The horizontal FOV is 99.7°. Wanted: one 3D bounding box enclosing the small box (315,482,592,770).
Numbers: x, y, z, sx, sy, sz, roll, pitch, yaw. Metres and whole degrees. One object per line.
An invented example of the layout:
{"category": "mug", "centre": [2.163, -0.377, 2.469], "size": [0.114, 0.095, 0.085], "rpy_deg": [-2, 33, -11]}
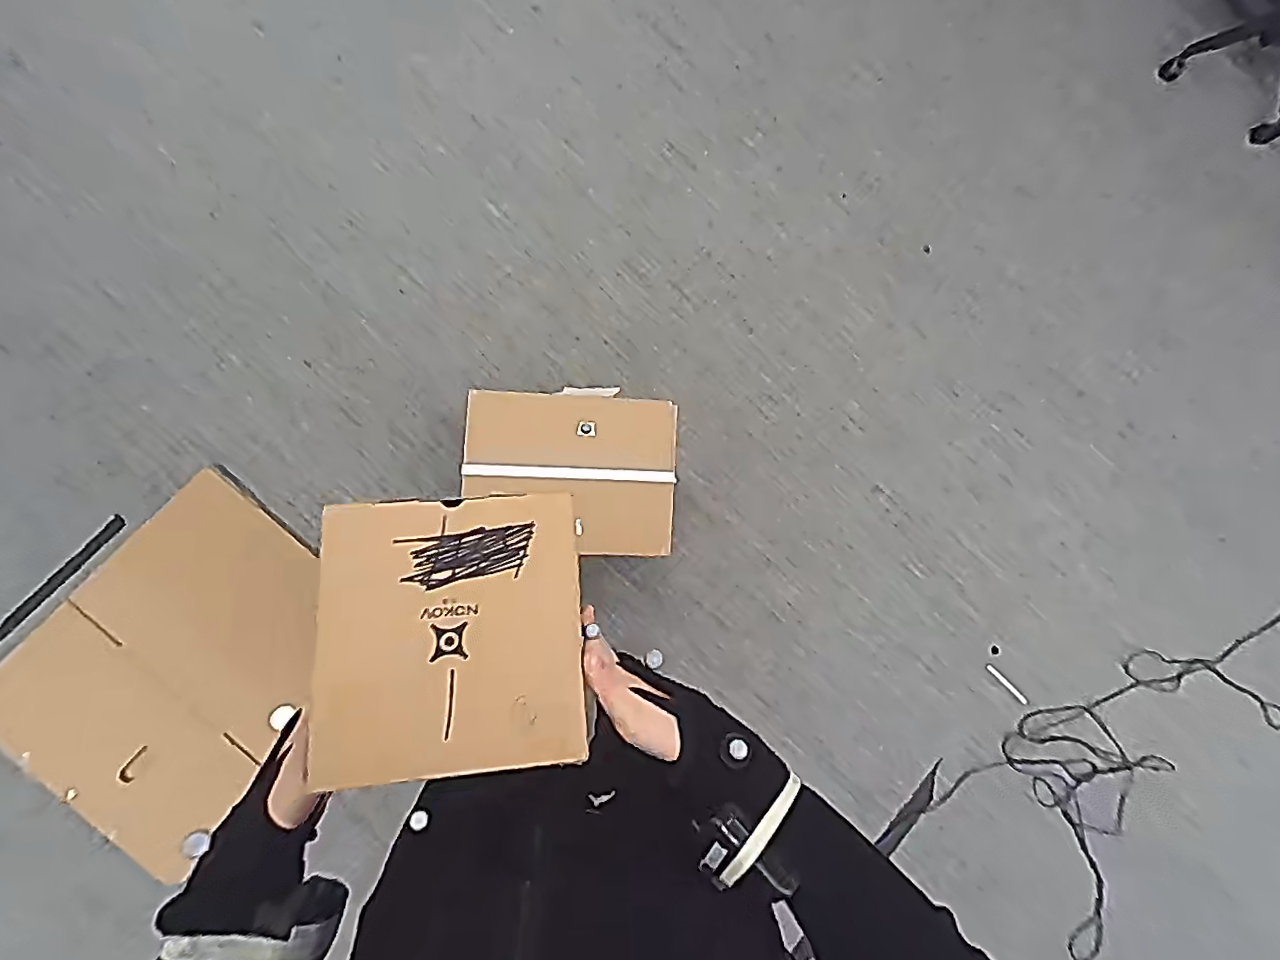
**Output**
{"category": "small box", "centre": [-0.127, 0.112, 0.430], "size": [0.168, 0.176, 0.179], "rpy_deg": [-3, 73, -7]}
